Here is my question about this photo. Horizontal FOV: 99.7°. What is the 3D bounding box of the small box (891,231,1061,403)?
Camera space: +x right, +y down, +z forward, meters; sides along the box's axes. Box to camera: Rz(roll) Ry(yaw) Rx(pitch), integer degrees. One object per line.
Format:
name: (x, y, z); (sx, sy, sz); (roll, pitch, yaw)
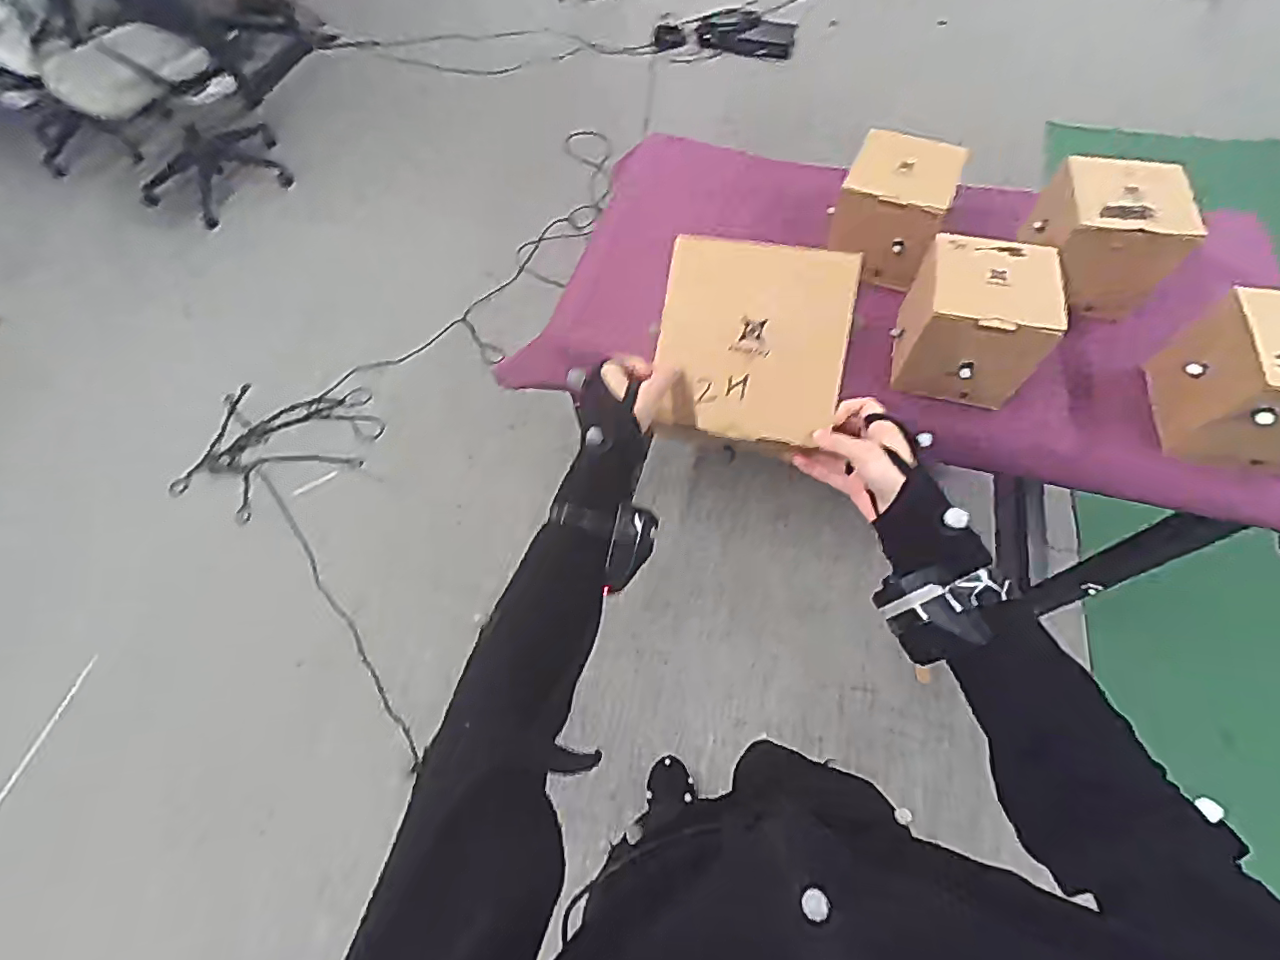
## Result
small box: (0.497, -0.241, 0.821); (0.168, 0.176, 0.179); (14, 63, 10)

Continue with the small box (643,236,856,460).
small box: (0.108, -0.123, 0.563); (0.168, 0.176, 0.179); (10, 90, 10)

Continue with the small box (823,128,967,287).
small box: (0.436, -0.473, 0.951); (0.168, 0.176, 0.179); (23, 66, 14)

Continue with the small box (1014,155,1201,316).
small box: (0.746, -0.397, 0.890); (0.168, 0.176, 0.179); (12, 62, 9)
